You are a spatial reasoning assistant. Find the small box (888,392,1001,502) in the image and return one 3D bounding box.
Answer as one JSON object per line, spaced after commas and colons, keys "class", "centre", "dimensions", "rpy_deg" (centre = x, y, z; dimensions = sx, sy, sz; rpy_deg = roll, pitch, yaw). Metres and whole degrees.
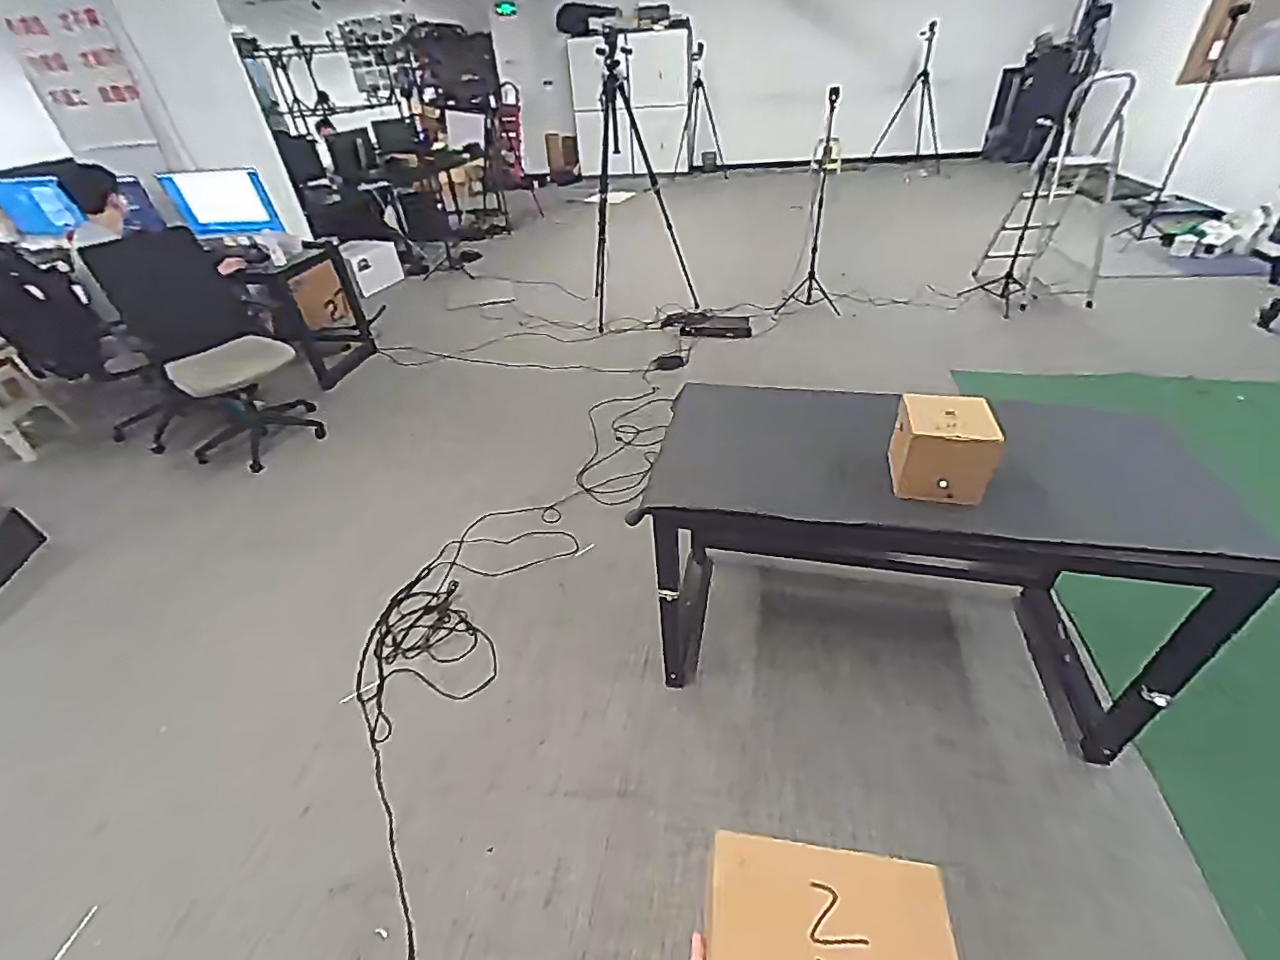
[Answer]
{"class": "small box", "centre": [0.652, -0.075, 1.182], "dimensions": [0.168, 0.176, 0.179], "rpy_deg": [5, 38, 14]}
